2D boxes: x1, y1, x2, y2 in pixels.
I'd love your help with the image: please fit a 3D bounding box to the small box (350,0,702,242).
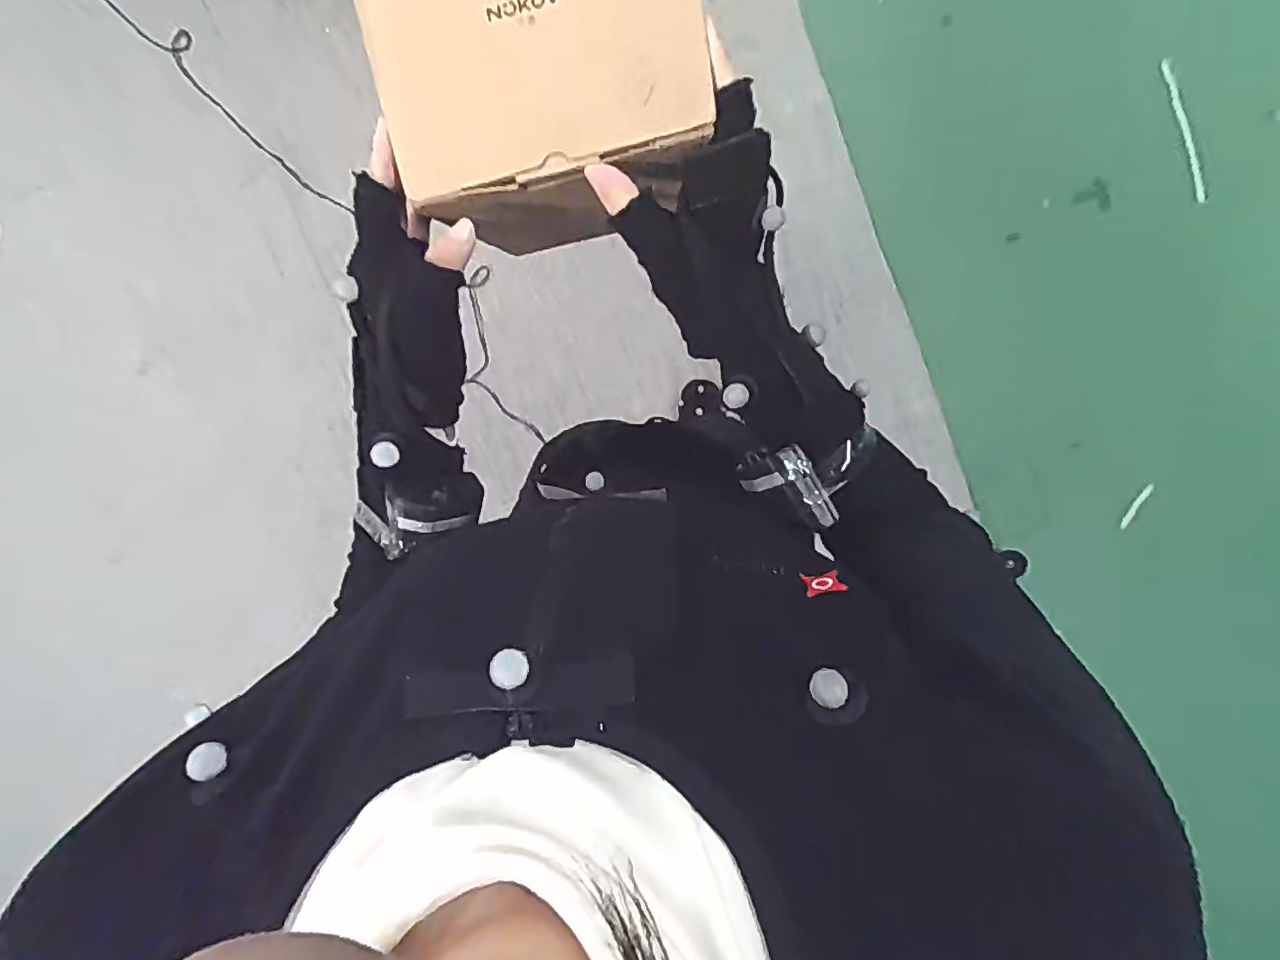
[{"bbox_3d":[-0.054,-0.262,0.339,0.168,0.176,0.179,-10,102,9],"label":"small box"}]
